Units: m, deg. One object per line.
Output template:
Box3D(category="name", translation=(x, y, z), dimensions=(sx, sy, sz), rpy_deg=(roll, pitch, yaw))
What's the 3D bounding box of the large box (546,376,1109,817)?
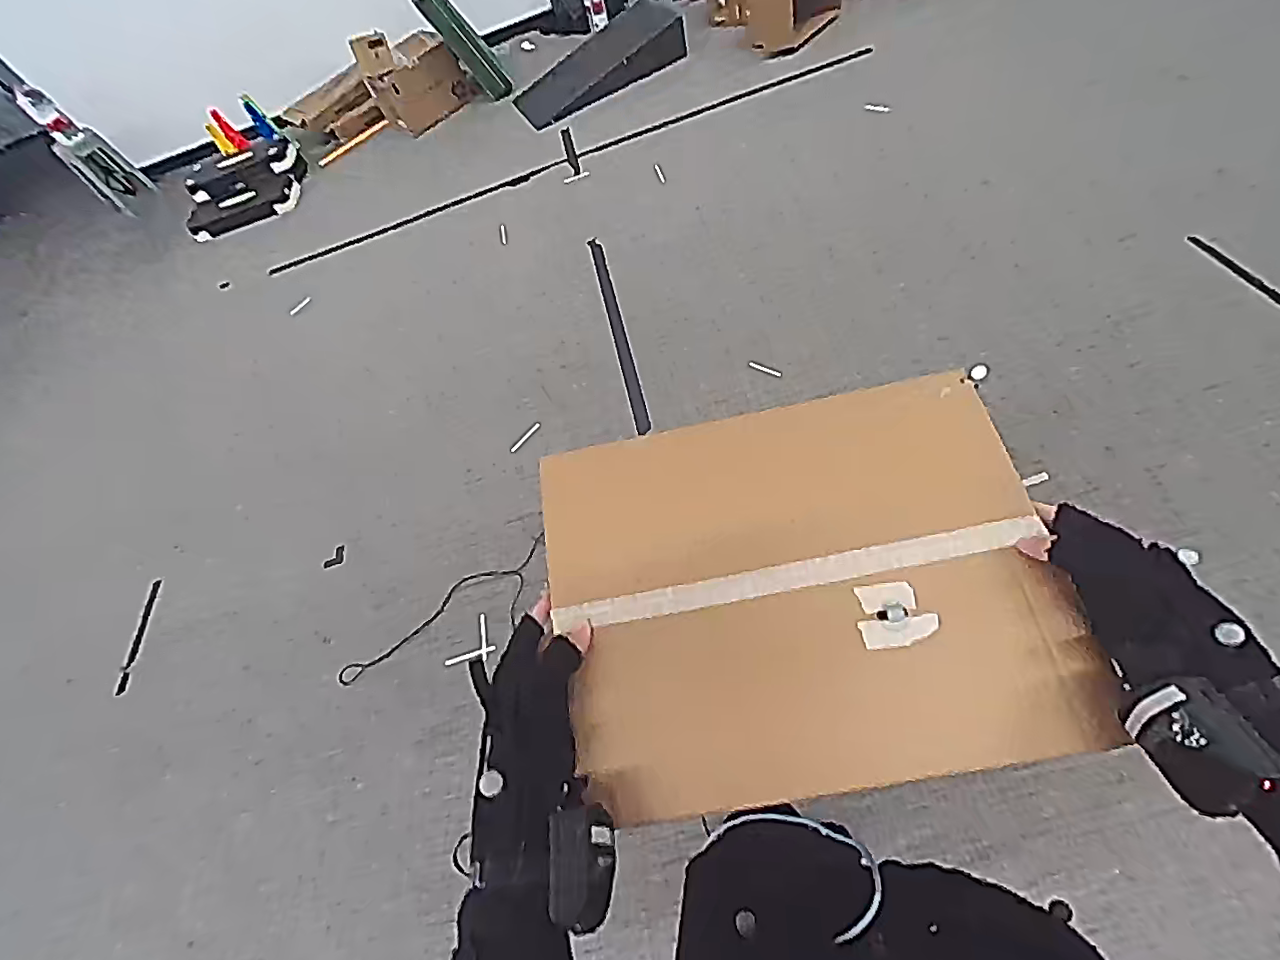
Box3D(category="large box", translation=(0.143, 0.137, 0.598), dimensions=(0.408, 0.320, 0.320), rpy_deg=(-12, 67, 3))
